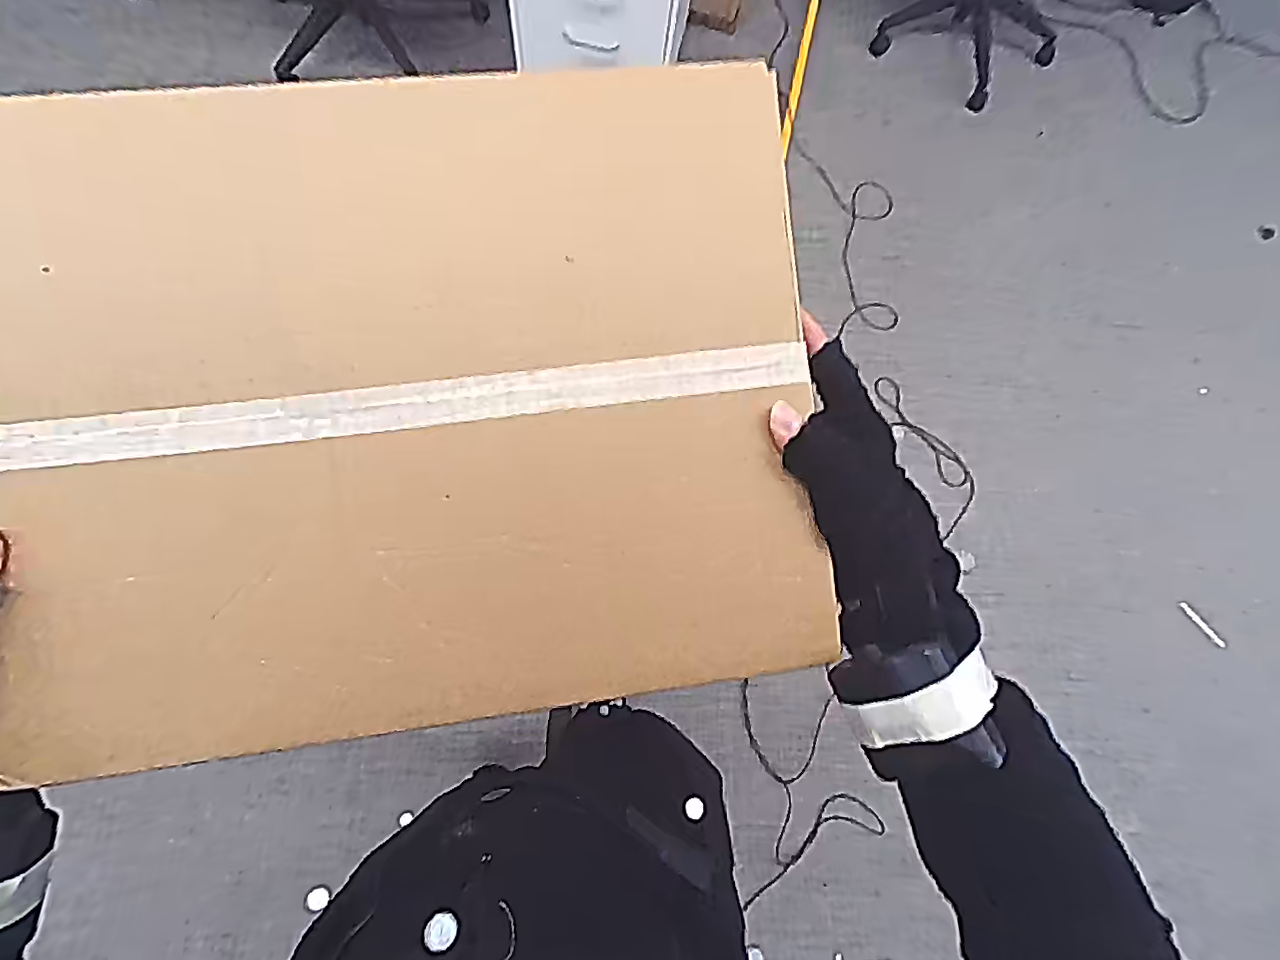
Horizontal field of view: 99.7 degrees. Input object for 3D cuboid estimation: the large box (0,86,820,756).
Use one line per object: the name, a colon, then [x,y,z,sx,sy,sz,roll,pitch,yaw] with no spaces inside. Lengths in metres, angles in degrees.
large box: [-0.124,-0.041,0.424,0.408,0.320,0.320,-6,90,-5]
